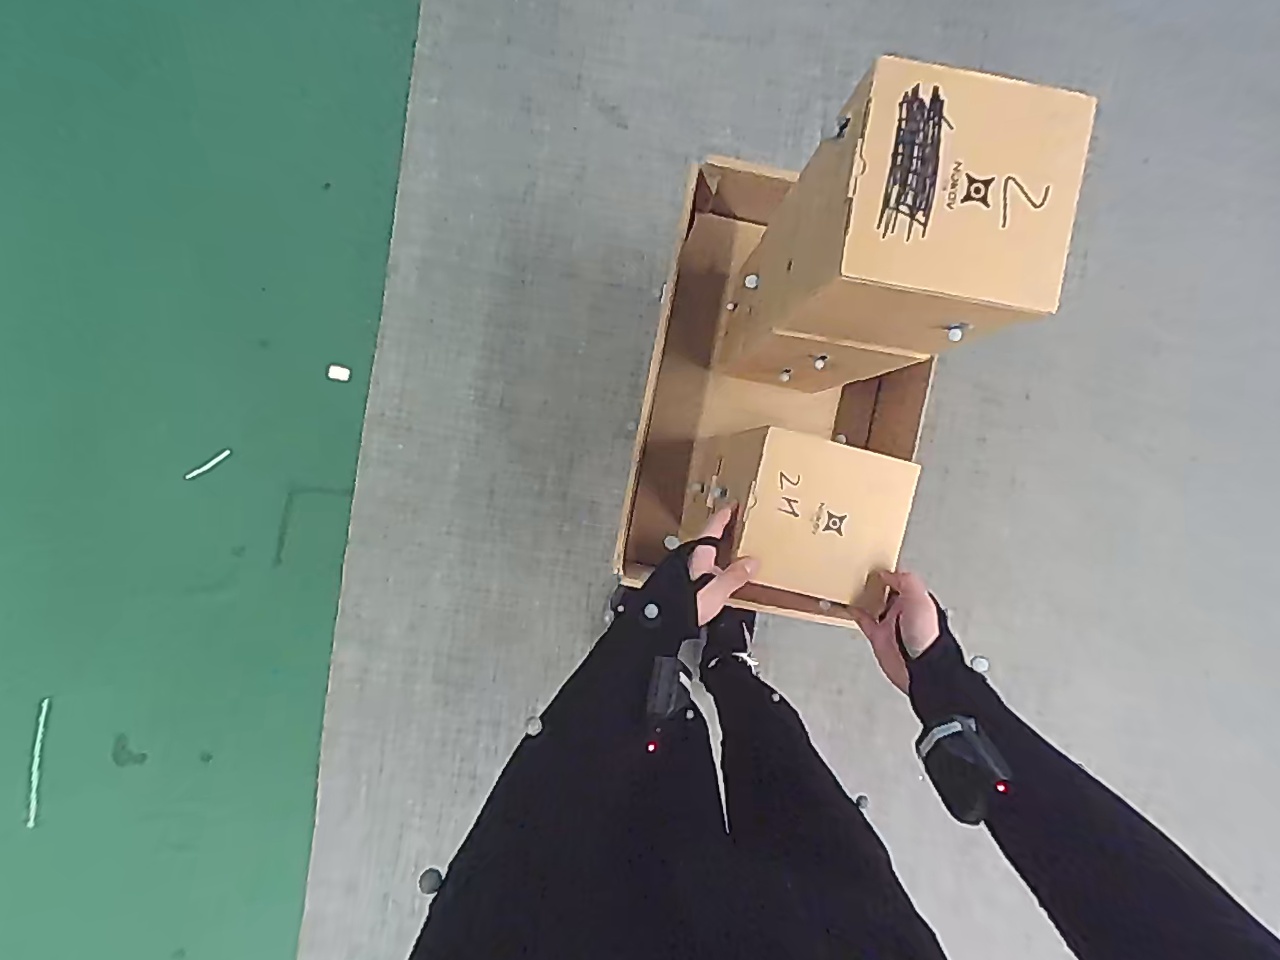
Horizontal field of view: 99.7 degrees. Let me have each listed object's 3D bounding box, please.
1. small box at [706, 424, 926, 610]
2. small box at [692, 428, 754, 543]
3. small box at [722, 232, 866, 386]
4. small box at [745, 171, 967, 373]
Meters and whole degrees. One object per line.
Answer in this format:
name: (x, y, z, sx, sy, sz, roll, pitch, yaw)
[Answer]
small box: (0.195, 0.037, 0.645, 0.179, 0.176, 0.168, 14, 90, -4)
small box: (0.185, 0.026, 0.815, 0.179, 0.176, 0.168, 13, 92, -2)
small box: (0.236, -0.241, 0.807, 0.179, 0.176, 0.168, 11, 93, -2)
small box: (0.240, -0.229, 0.643, 0.179, 0.176, 0.168, 10, 93, -2)
